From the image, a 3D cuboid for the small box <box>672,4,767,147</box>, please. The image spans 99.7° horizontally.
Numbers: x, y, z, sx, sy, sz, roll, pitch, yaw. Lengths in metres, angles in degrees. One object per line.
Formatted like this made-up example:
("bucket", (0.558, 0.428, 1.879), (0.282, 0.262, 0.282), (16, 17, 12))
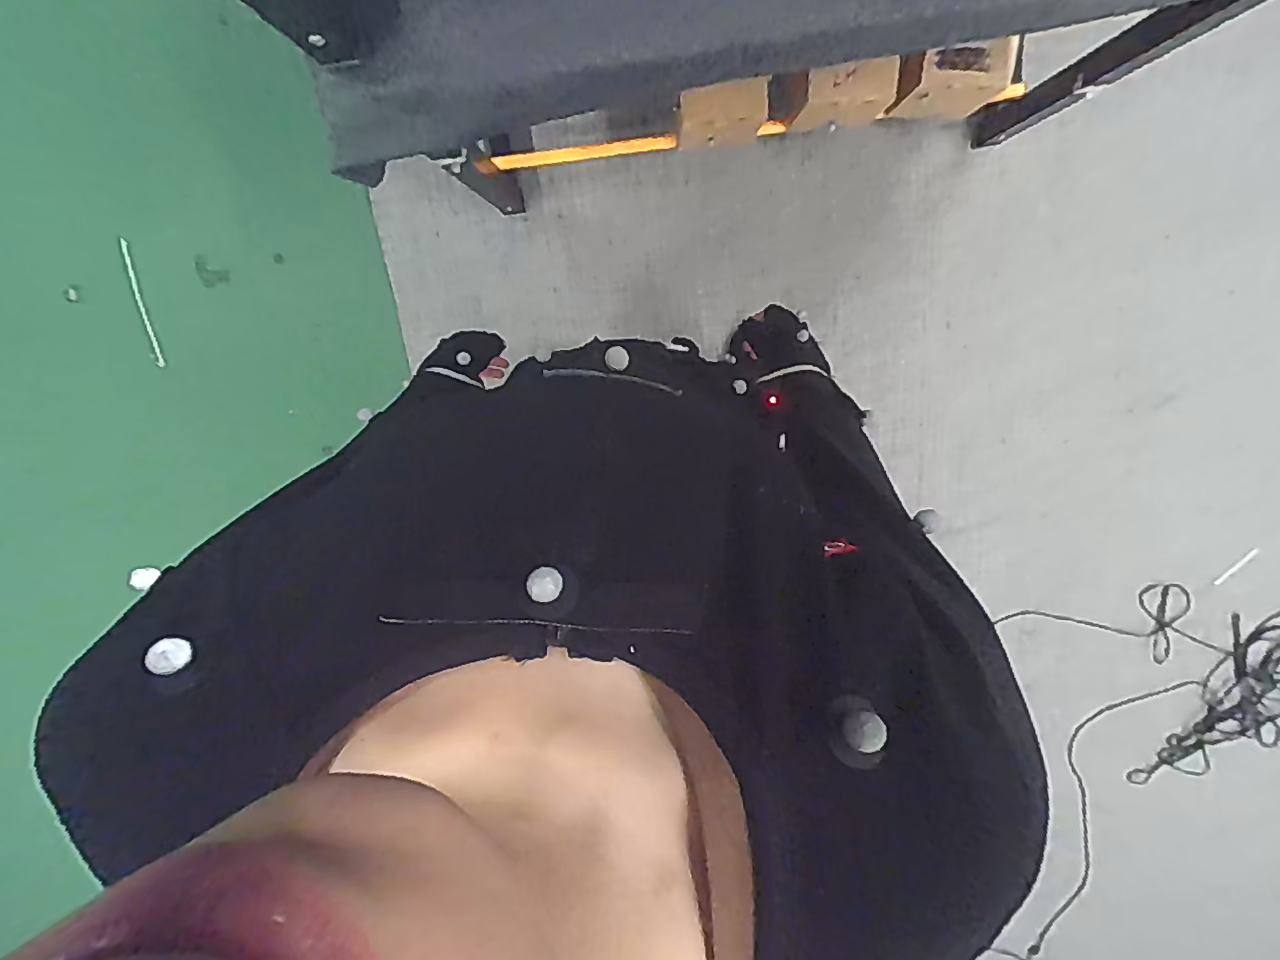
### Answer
("small box", (0.152, -0.789, 1.071), (0.168, 0.176, 0.179), (-4, 108, 2))
